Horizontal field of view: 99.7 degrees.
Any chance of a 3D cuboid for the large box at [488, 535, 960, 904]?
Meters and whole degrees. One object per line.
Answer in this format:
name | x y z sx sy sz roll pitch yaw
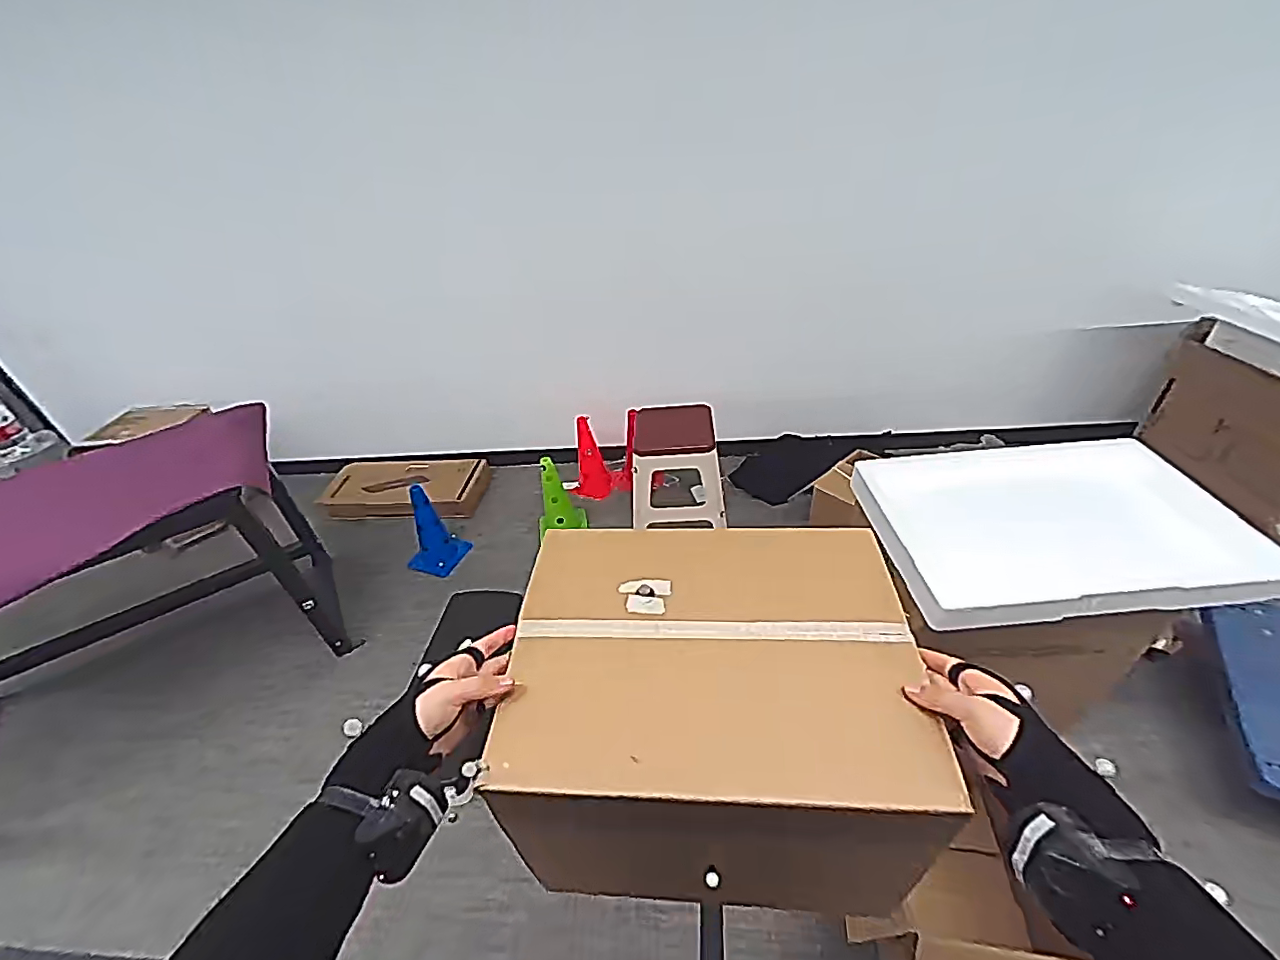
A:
large box | 0.085 0.287 0.660 0.408 0.320 0.320 -2 38 6
